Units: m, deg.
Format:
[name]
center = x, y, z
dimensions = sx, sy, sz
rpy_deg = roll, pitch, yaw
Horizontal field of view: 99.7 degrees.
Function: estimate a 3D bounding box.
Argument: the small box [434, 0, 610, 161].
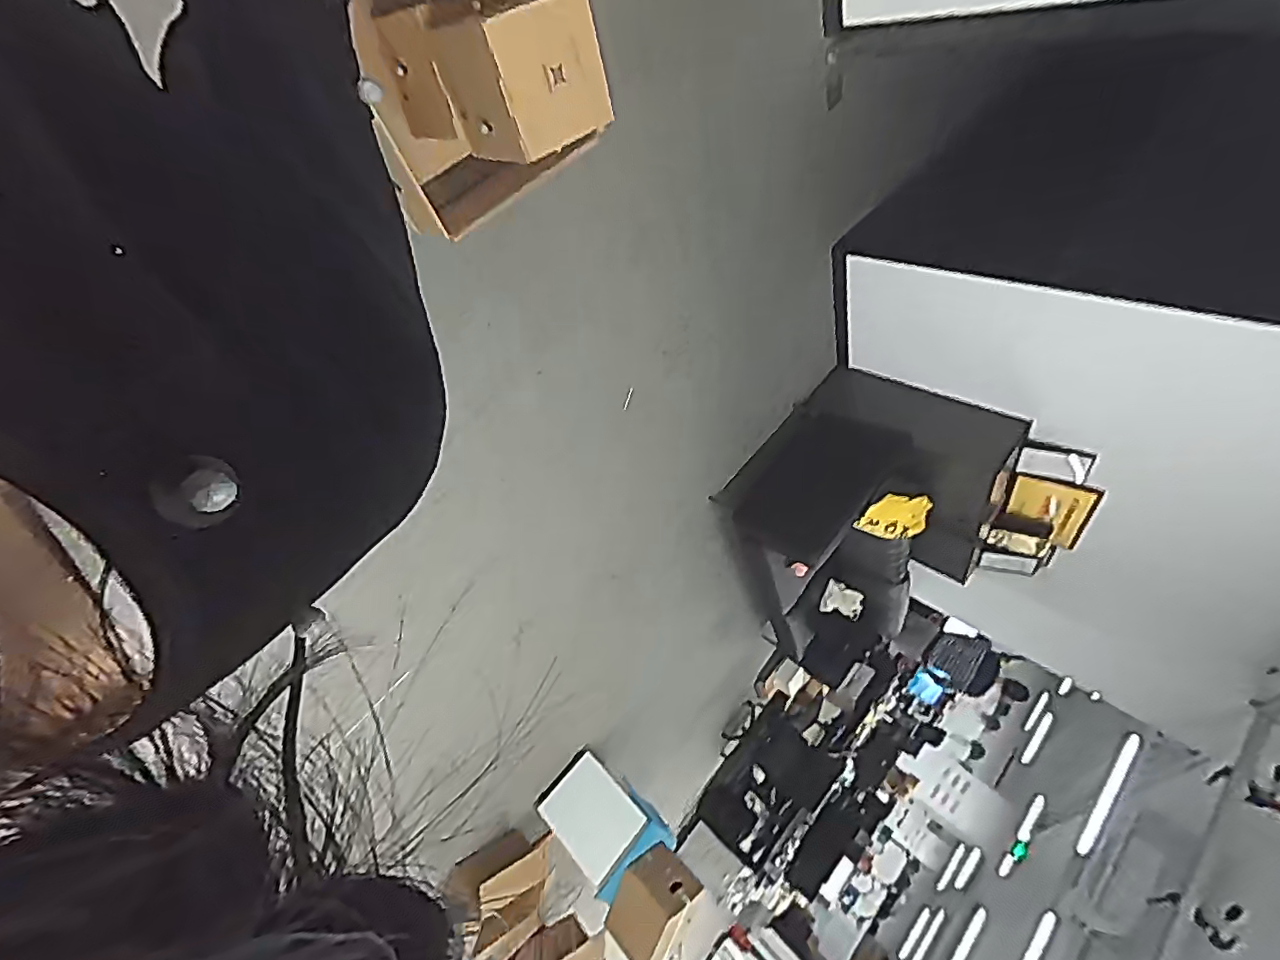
[small box]
center = -0.177, -0.596, 0.799
dimensions = 0.179, 0.176, 0.168
rpy_deg = -41, 141, -23
